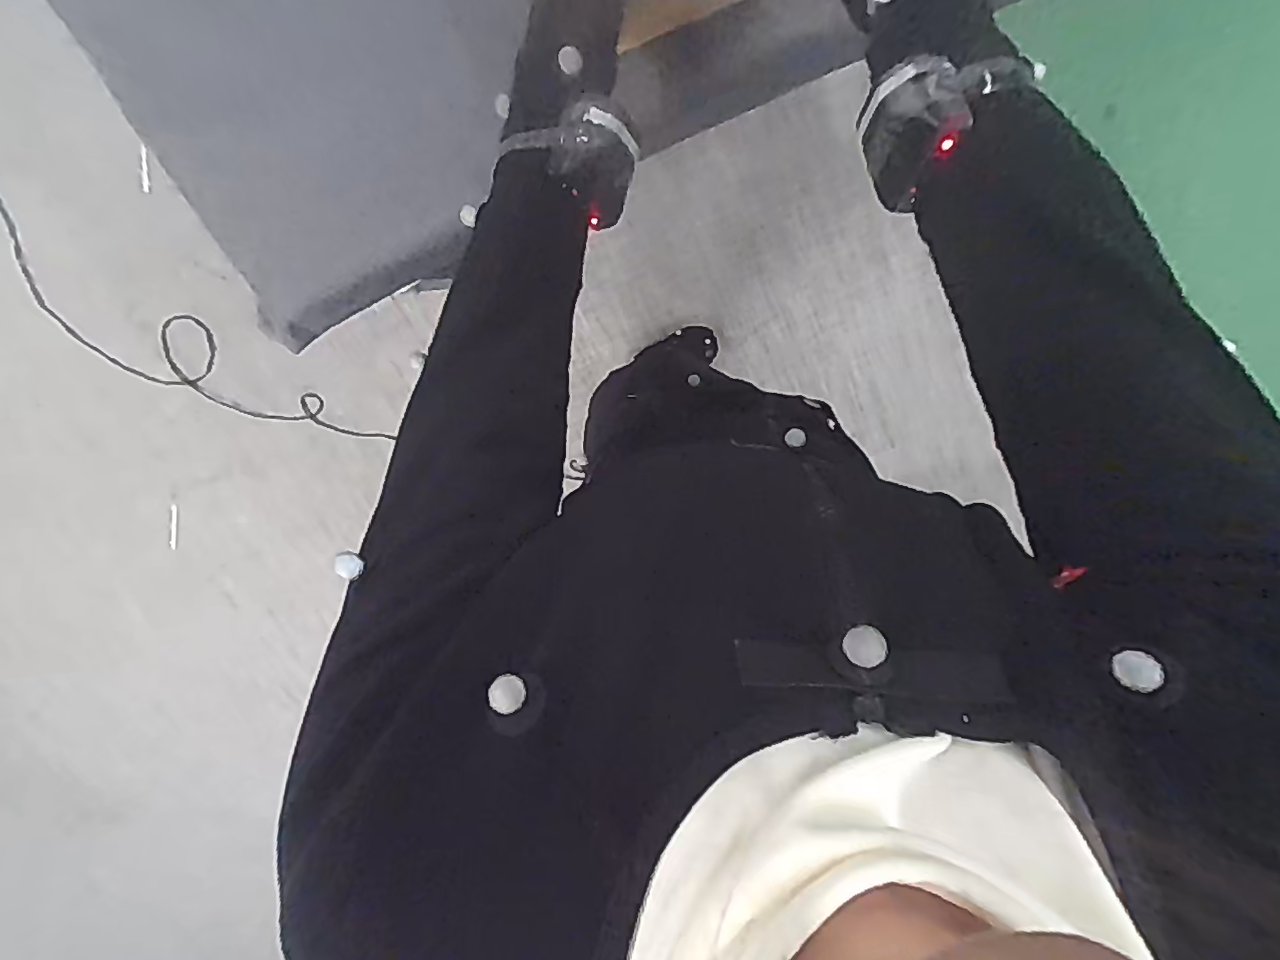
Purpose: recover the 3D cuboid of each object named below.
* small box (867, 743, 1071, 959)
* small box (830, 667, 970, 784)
[{"bbox_3d":[0.455,0.519,0.769,0.168,0.176,0.179,-27,110,9],"label":"small box"},{"bbox_3d":[0.451,0.459,0.922,0.168,0.176,0.179,-26,107,8],"label":"small box"}]
